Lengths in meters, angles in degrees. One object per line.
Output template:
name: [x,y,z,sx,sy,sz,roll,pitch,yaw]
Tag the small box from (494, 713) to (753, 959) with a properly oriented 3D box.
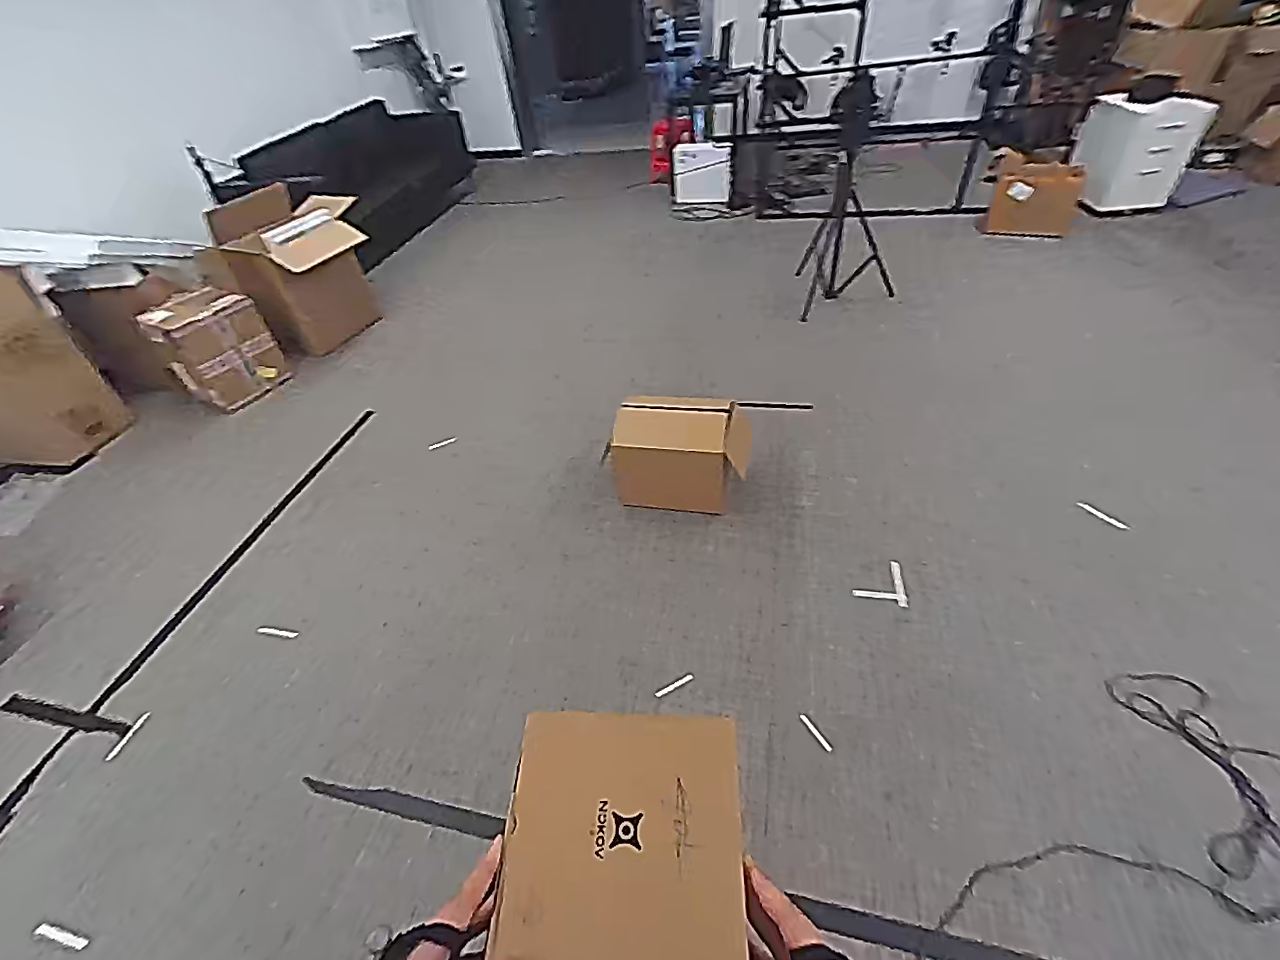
small box: [-0.002,0.315,0.464,0.179,0.176,0.168,0,48,5]
